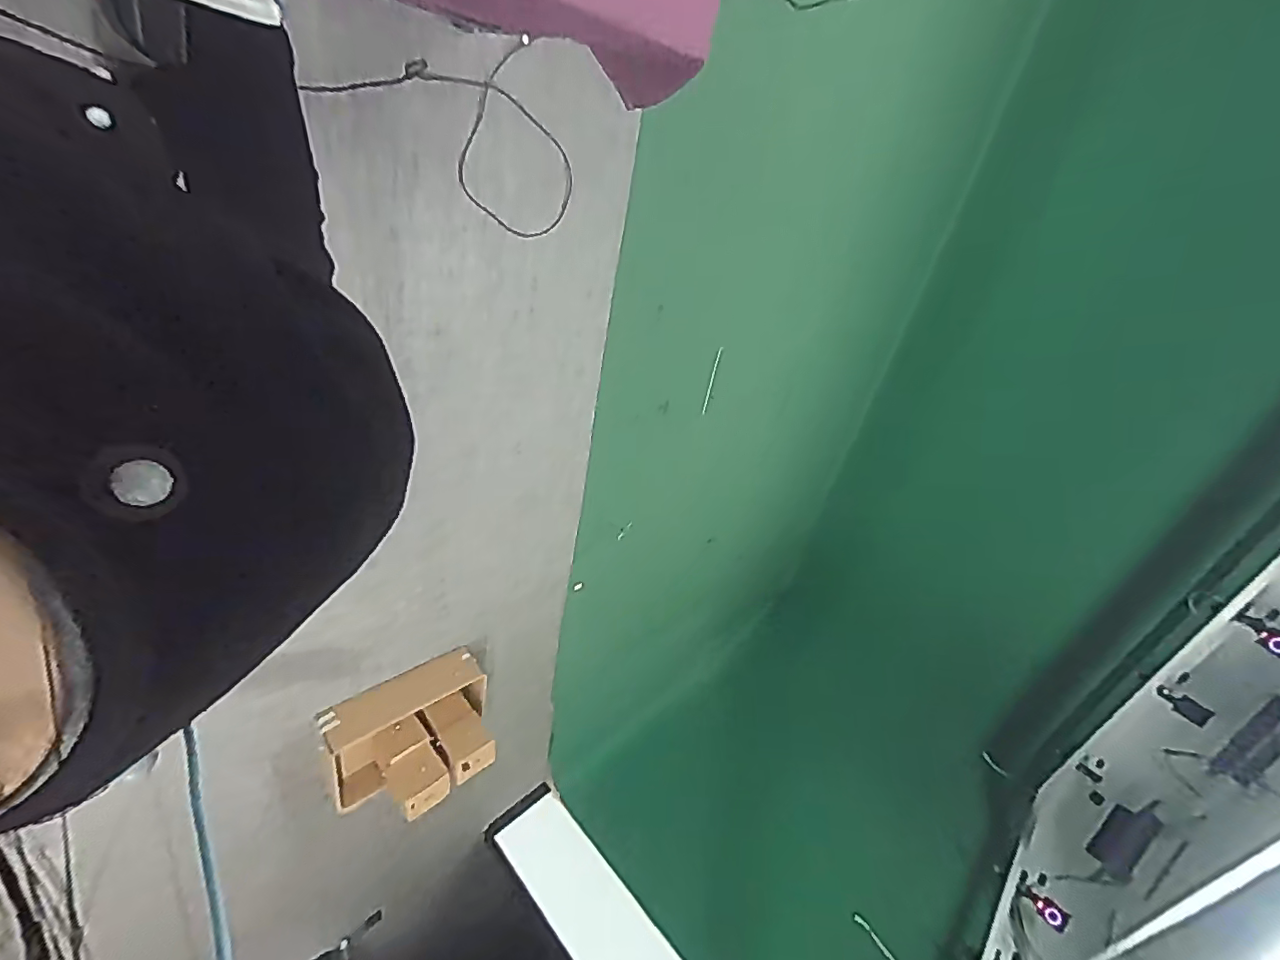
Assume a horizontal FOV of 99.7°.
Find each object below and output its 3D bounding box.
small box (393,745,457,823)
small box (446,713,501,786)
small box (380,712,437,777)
[{"bbox_3d":[-0.851,1.197,2.144,0.179,0.176,0.168,-24,136,-41],"label":"small box"},{"bbox_3d":[-0.701,1.123,2.265,0.179,0.176,0.168,-22,133,-39],"label":"small box"},{"bbox_3d":[-0.956,1.103,2.230,0.168,0.176,0.179,-20,132,-44],"label":"small box"}]
